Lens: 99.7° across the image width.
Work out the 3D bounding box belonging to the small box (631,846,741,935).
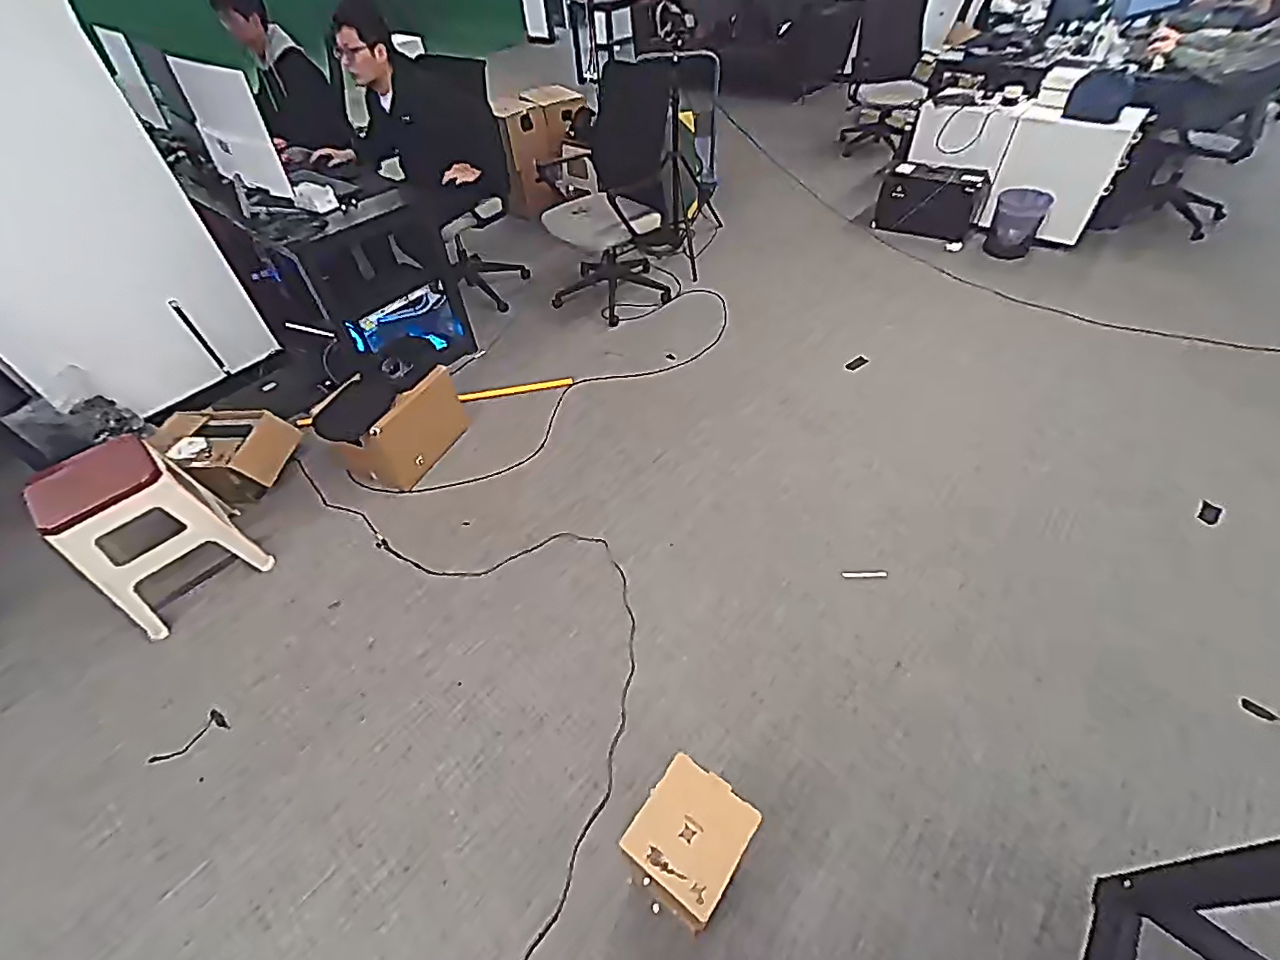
[{"bbox_3d":[0.098,0.830,1.166,0.168,0.176,0.179,28,56,27],"label":"small box"}]

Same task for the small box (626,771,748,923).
[{"bbox_3d":[0.092,0.716,1.052,0.168,0.176,0.179,26,52,24],"label":"small box"}]
